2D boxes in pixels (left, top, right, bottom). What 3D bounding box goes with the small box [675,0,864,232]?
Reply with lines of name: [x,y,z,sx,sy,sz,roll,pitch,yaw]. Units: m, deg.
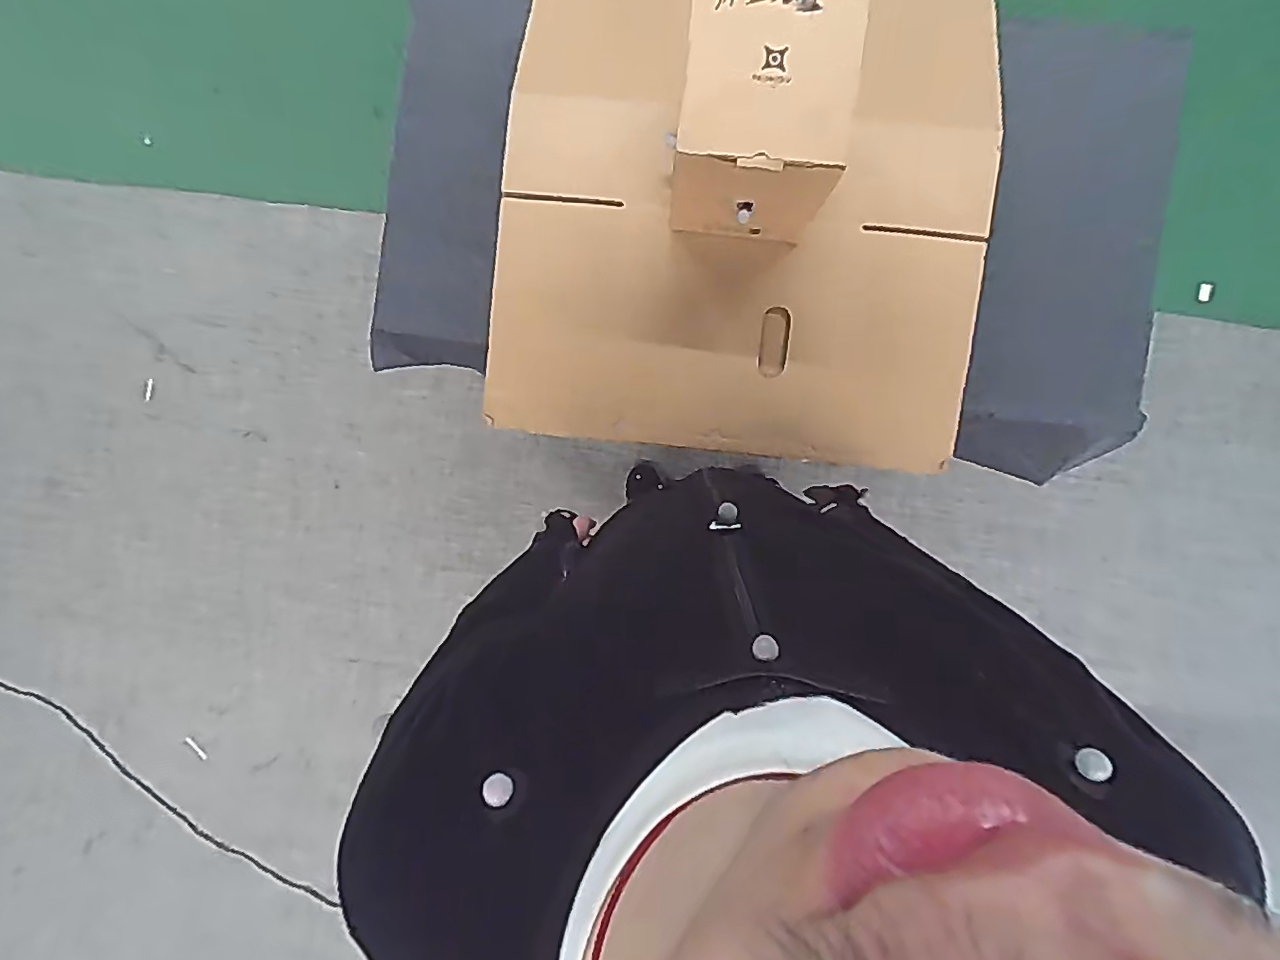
small box: [0.127,-0.392,0.591,0.168,0.176,0.179,5,92,2]
